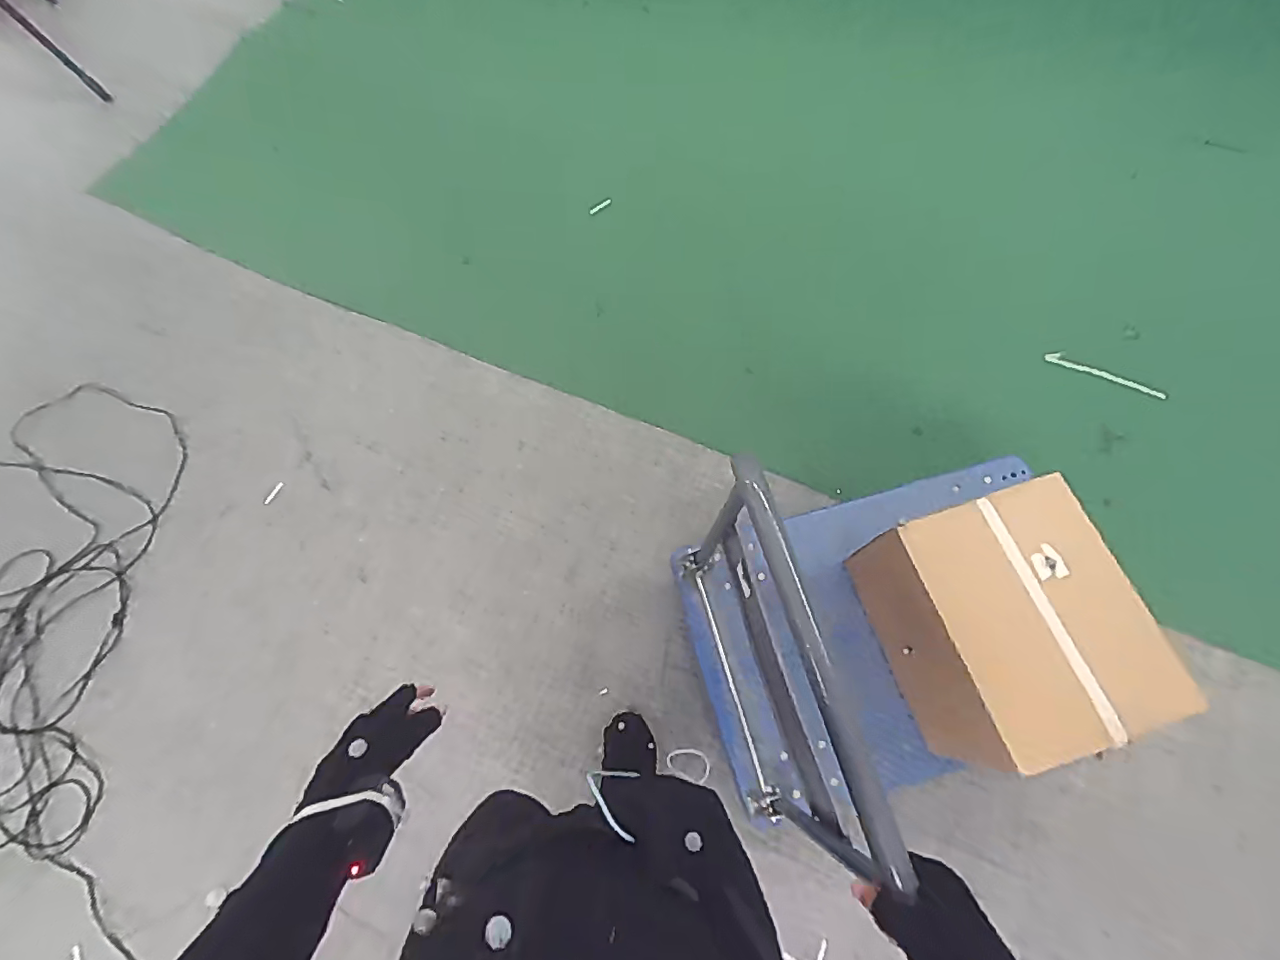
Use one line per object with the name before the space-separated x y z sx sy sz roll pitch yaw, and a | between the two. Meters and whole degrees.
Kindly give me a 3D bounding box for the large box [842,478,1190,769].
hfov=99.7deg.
large box | 0.646 0.268 1.022 0.320 0.320 0.408 -17 68 -4
